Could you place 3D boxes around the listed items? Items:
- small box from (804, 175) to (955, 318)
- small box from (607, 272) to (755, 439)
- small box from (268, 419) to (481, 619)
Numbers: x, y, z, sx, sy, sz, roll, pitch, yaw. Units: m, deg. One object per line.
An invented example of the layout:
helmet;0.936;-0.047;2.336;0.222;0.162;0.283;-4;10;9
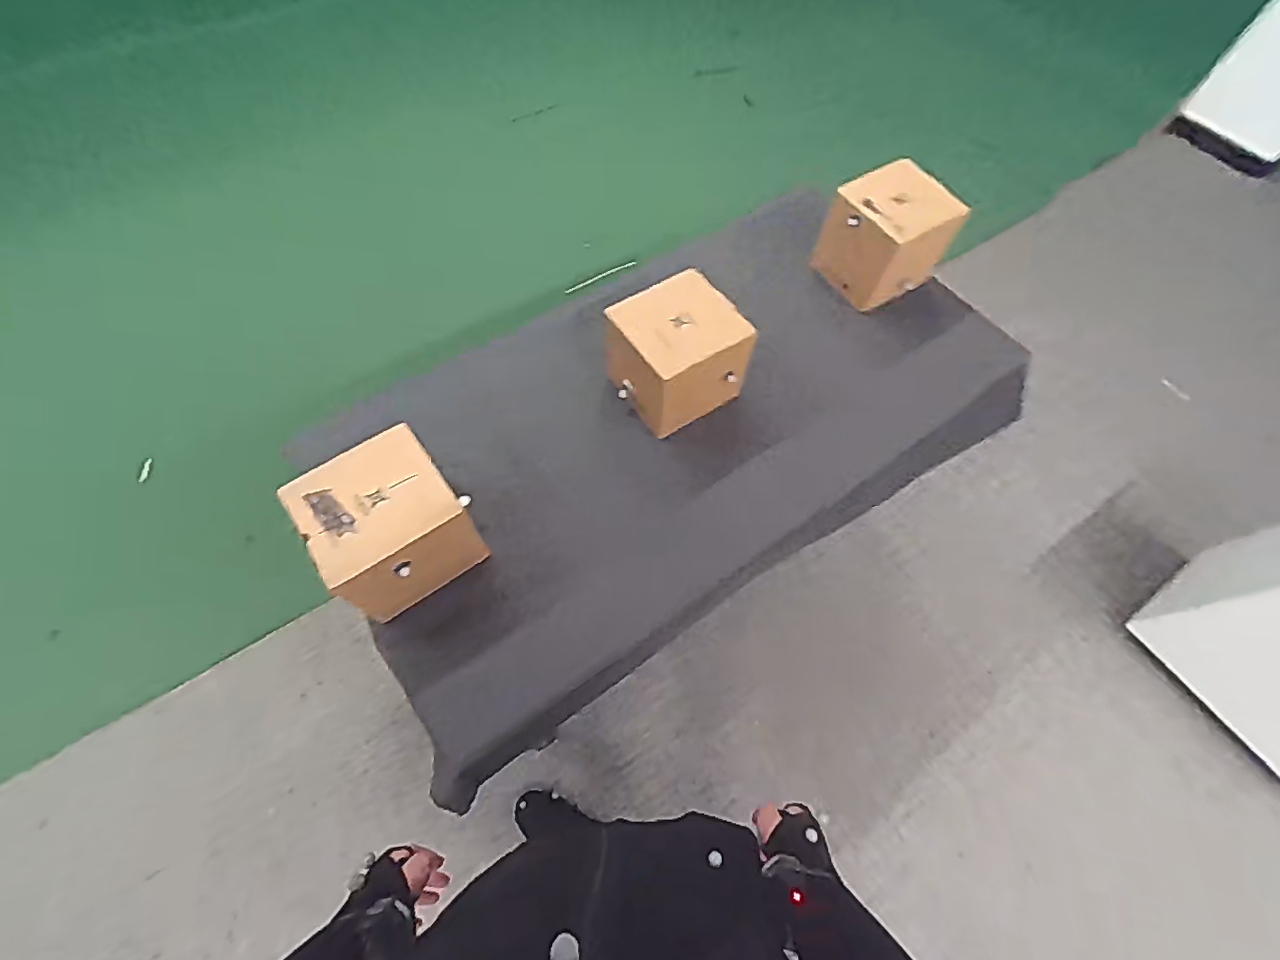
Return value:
small box;0.456;-0.453;1.059;0.179;0.176;0.168;-28;68;-18
small box;0.057;-0.202;0.895;0.179;0.176;0.168;-31;68;-18
small box;-0.337;0.058;0.718;0.179;0.176;0.168;-33;70;-21
